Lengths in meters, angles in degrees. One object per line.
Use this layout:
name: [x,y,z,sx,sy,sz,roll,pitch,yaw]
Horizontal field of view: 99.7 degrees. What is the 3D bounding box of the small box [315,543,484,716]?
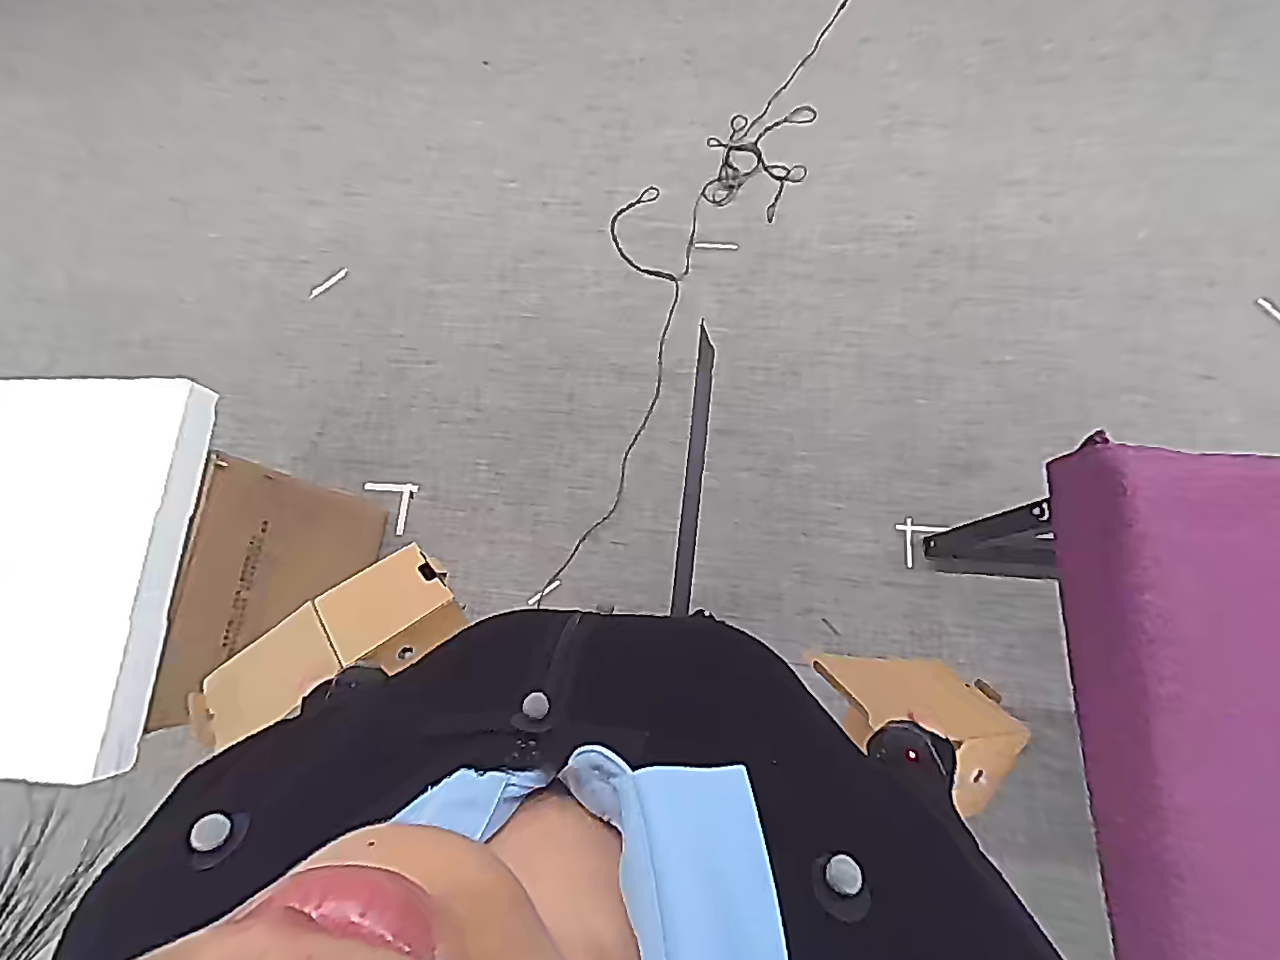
small box: [-0.384,0.243,0.883,0.179,0.176,0.168,-32,46,-25]
